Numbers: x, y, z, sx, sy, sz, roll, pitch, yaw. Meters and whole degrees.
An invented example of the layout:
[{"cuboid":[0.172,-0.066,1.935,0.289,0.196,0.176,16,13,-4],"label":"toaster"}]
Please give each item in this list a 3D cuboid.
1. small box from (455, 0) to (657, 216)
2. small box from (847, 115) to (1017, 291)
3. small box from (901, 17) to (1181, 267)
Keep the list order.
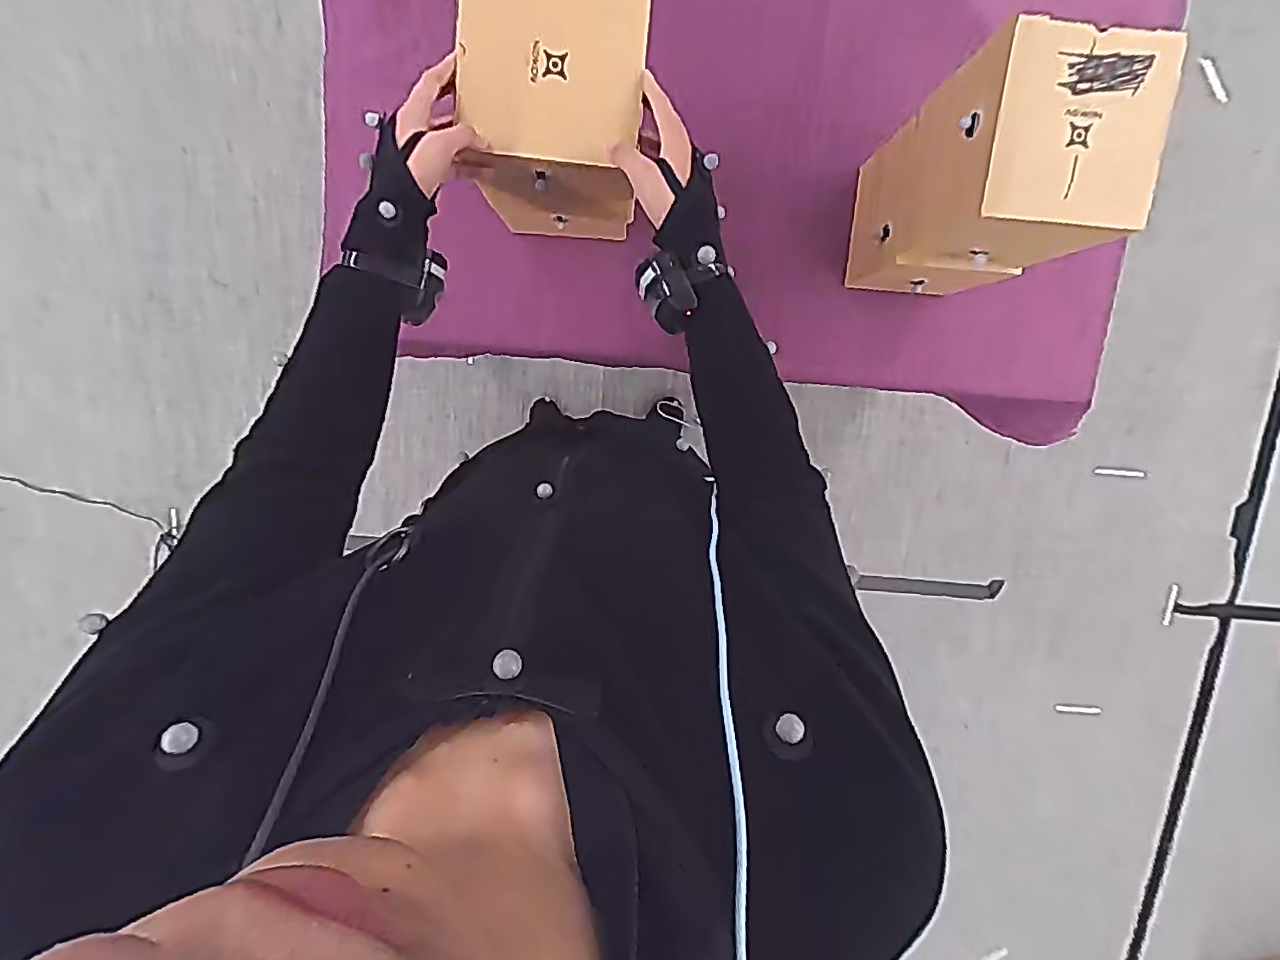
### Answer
[{"cuboid":[-0.081,-0.395,0.574,0.179,0.176,0.168,6,100,-2],"label":"small box"},{"cuboid":[0.408,-0.369,0.756,0.168,0.176,0.179,4,100,-2],"label":"small box"},{"cuboid":[0.414,-0.349,0.593,0.168,0.176,0.179,5,101,-2],"label":"small box"}]
